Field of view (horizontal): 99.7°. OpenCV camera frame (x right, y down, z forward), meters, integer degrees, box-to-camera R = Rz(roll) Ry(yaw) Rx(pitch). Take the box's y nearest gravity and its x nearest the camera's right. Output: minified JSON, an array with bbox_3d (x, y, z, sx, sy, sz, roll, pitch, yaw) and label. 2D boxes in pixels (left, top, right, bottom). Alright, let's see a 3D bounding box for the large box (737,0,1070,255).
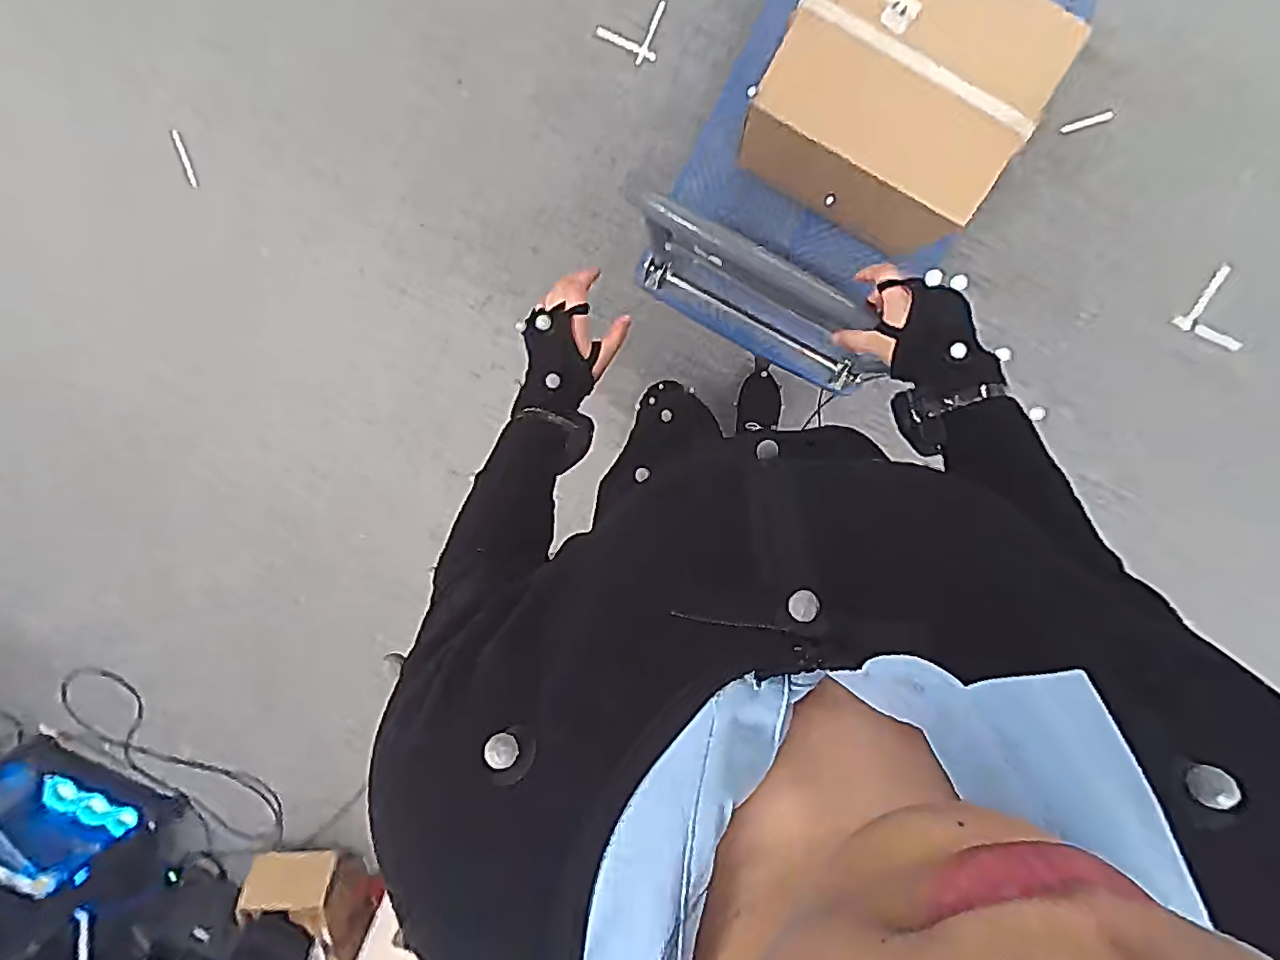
[{"bbox_3d":[0.435,-0.676,1.006,0.408,0.320,0.320,29,103,0],"label":"large box"}]
